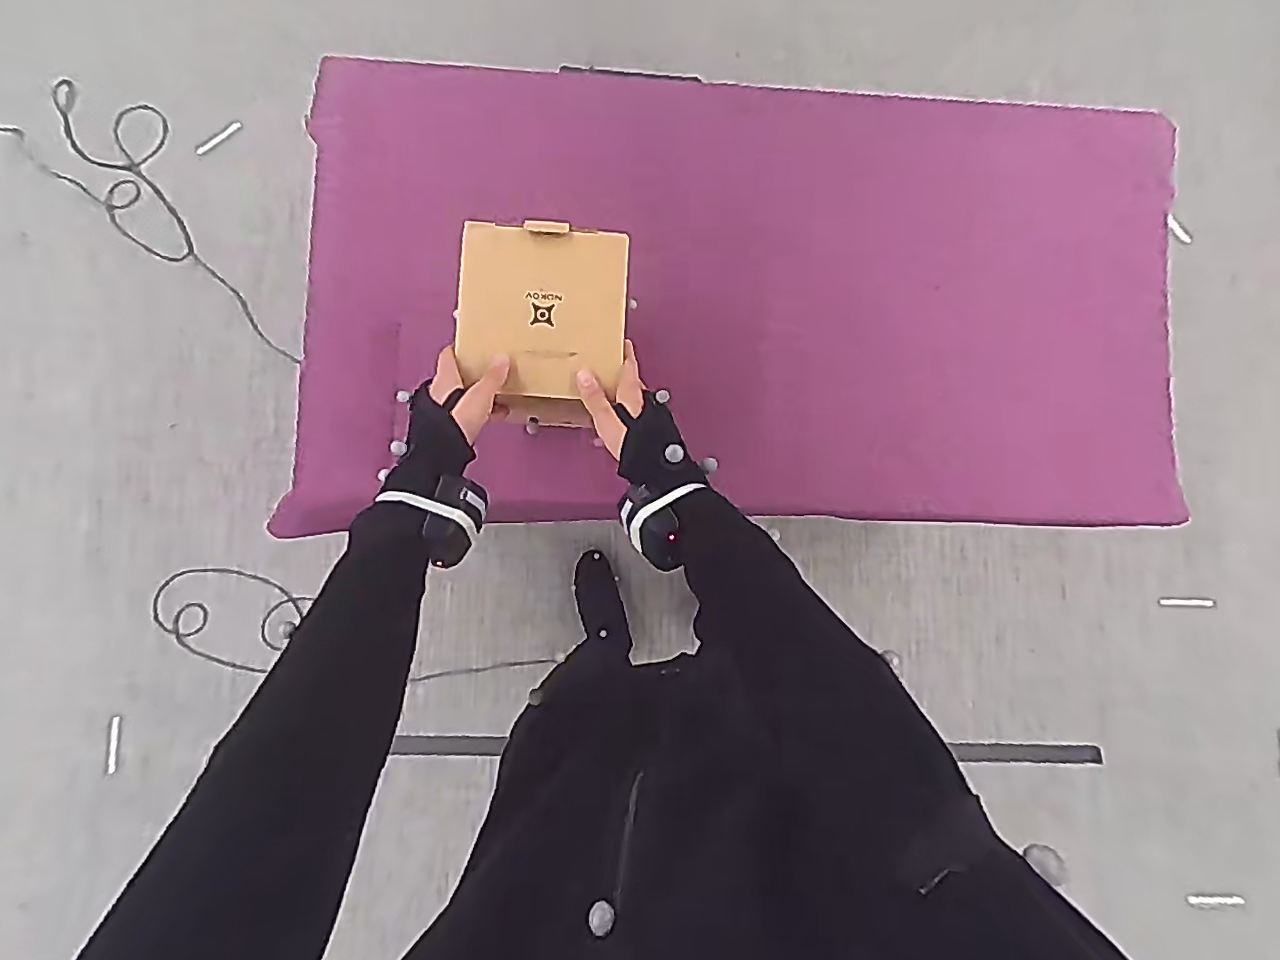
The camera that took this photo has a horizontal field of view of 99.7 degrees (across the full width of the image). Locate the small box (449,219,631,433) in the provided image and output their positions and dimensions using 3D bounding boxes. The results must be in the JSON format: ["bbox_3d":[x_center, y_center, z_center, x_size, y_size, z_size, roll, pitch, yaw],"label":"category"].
[{"bbox_3d":[-0.103,-0.158,0.607,0.168,0.176,0.179,4,85,-4],"label":"small box"}]
